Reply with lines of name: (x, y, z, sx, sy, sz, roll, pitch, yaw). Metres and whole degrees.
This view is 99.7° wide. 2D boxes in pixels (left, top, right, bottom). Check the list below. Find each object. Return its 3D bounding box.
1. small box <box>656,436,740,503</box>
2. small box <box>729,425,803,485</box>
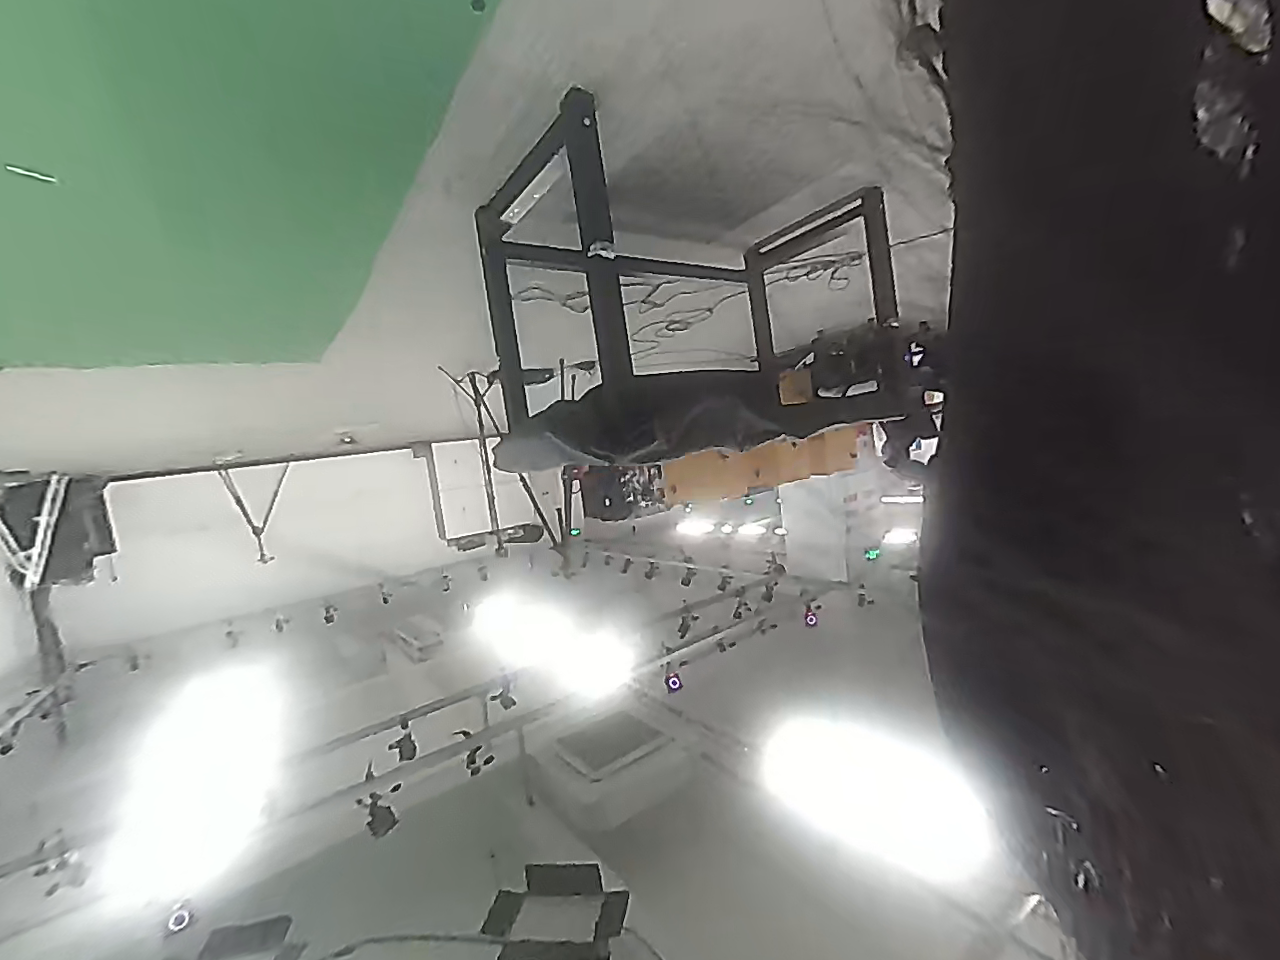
small box: (0.162, -0.031, 1.541, 0.168, 0.176, 0.179, -12, -175, -39)
small box: (0.394, -0.081, 1.722, 0.168, 0.176, 0.179, -11, -176, -38)
